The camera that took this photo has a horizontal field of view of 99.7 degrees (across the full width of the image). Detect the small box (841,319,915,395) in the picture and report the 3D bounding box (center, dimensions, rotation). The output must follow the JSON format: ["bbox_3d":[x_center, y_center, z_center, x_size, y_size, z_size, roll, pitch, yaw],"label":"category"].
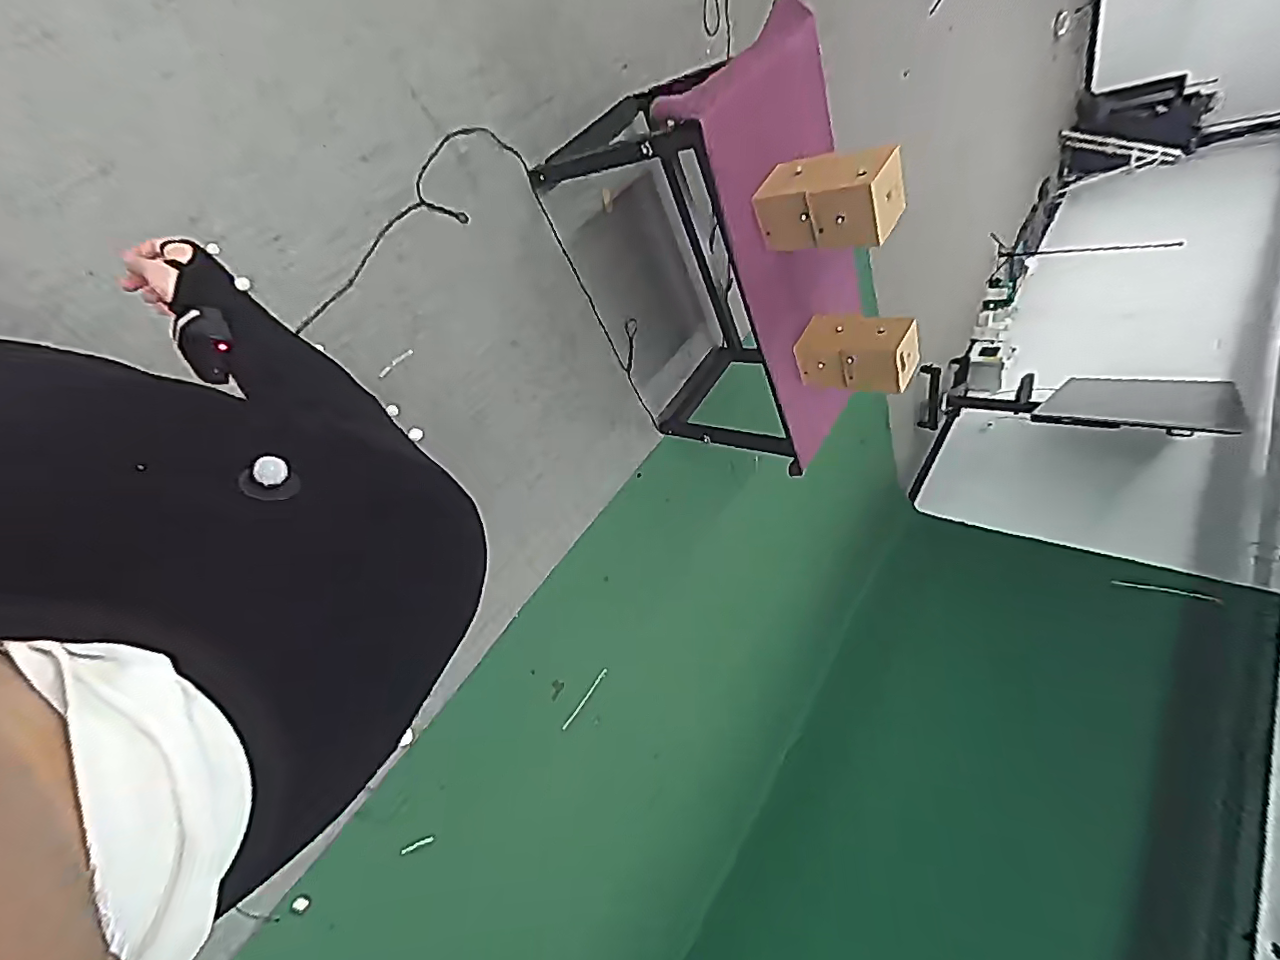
[{"bbox_3d":[0.743,-0.385,1.697,0.179,0.176,0.168,-53,134,-27],"label":"small box"}]

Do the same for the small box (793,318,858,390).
[{"bbox_3d":[0.627,-0.421,1.809,0.179,0.176,0.168,-55,135,-24],"label":"small box"}]

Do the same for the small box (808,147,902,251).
[{"bbox_3d":[0.543,-0.706,1.378,0.179,0.176,0.168,-55,136,-21],"label":"small box"}]

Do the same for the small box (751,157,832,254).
[{"bbox_3d":[0.431,-0.752,1.492,0.179,0.176,0.168,-57,135,-21],"label":"small box"}]
